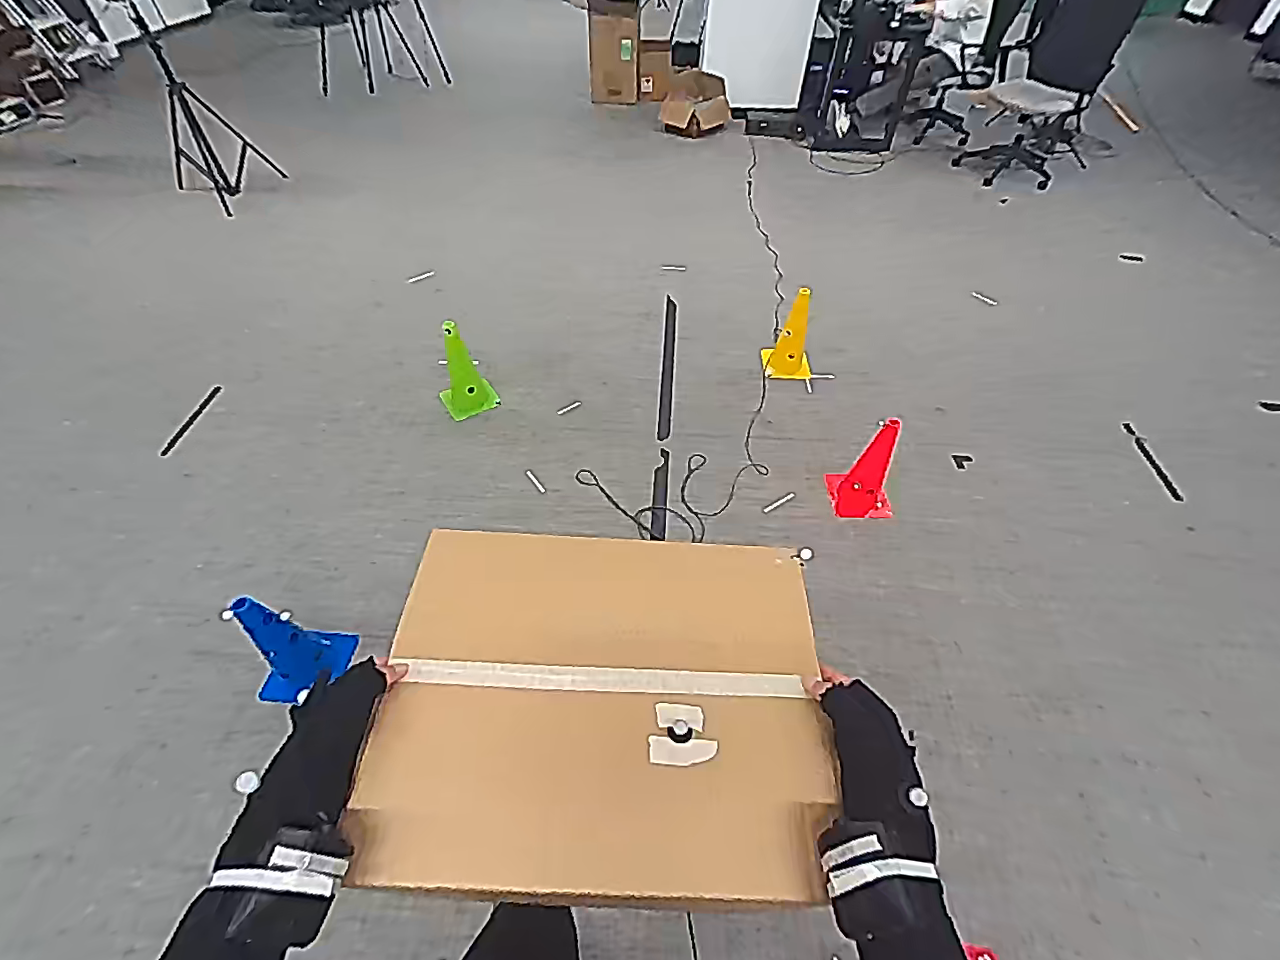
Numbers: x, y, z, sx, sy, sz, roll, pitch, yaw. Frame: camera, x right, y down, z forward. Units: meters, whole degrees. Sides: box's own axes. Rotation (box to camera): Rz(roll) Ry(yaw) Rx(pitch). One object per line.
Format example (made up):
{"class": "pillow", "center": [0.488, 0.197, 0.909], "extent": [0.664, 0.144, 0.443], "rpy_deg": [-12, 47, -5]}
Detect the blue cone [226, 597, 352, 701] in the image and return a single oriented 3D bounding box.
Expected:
{"class": "blue cone", "center": [-0.908, 0.401, 1.362], "extent": [0.192, 0.380, 0.193], "rpy_deg": [5, 49, 5]}

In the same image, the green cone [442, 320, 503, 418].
{"class": "green cone", "center": [-0.684, -0.451, 2.073], "extent": [0.202, 0.368, 0.200], "rpy_deg": [-28, 55, -21]}

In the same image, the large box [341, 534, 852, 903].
{"class": "large box", "center": [-0.038, 0.282, 0.621], "extent": [0.408, 0.320, 0.320], "rpy_deg": [4, 51, -2]}

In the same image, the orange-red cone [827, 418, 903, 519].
{"class": "orange-red cone", "center": [0.772, -0.060, 1.772], "extent": [0.198, 0.360, 0.199], "rpy_deg": [2, 48, -1]}
